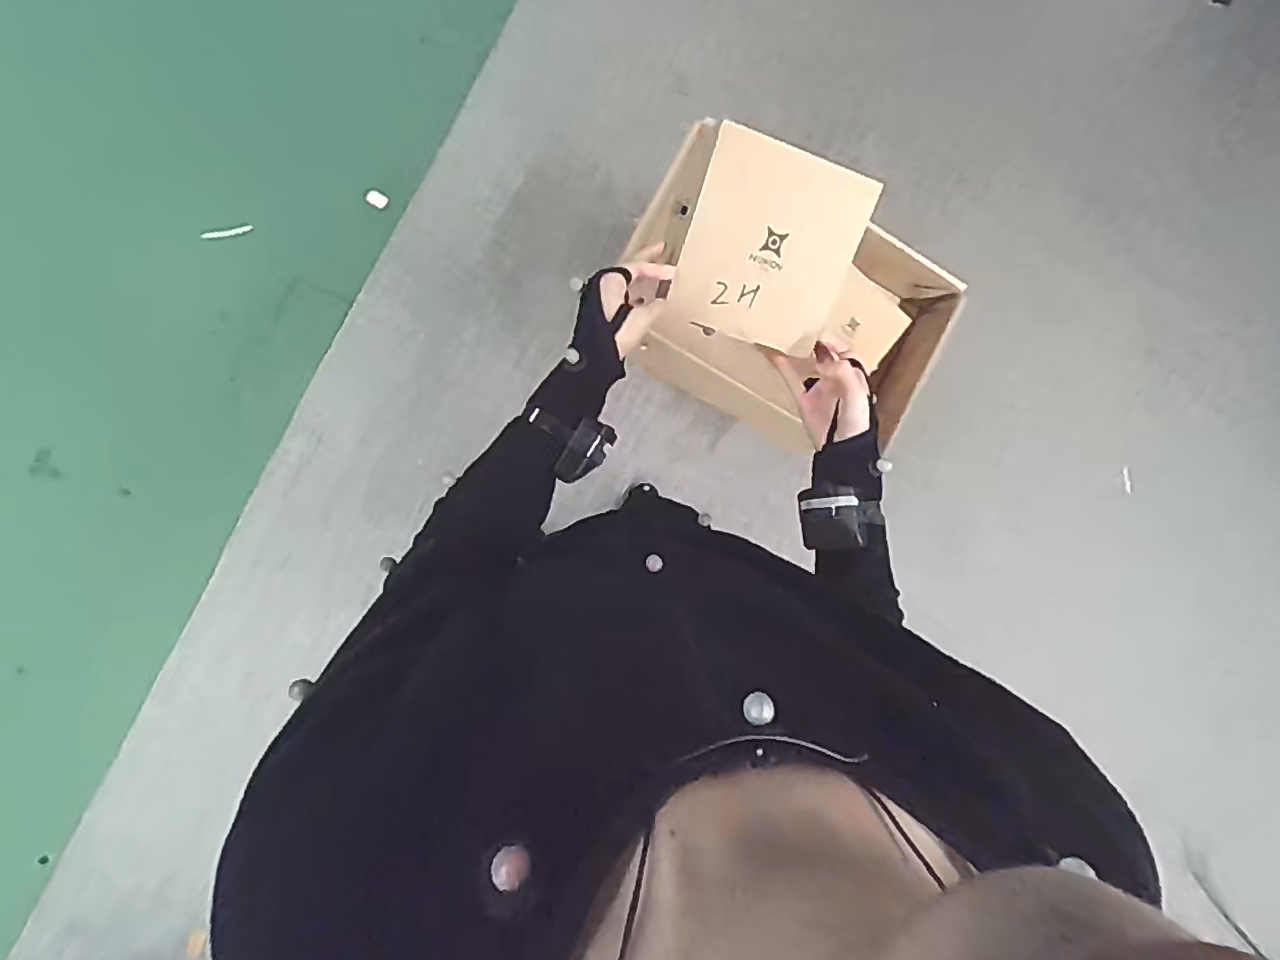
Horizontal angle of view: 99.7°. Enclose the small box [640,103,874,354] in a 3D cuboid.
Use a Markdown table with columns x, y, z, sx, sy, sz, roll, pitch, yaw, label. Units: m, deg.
| x | y | z | sx | sy | sz | roll | pitch | yaw | label |
| --- | --- | --- | --- | --- | --- | --- | --- | --- | --- |
| 0.105 | -0.258 | 0.579 | 0.168 | 0.176 | 0.179 | 15 | 112 | -12 | small box |
